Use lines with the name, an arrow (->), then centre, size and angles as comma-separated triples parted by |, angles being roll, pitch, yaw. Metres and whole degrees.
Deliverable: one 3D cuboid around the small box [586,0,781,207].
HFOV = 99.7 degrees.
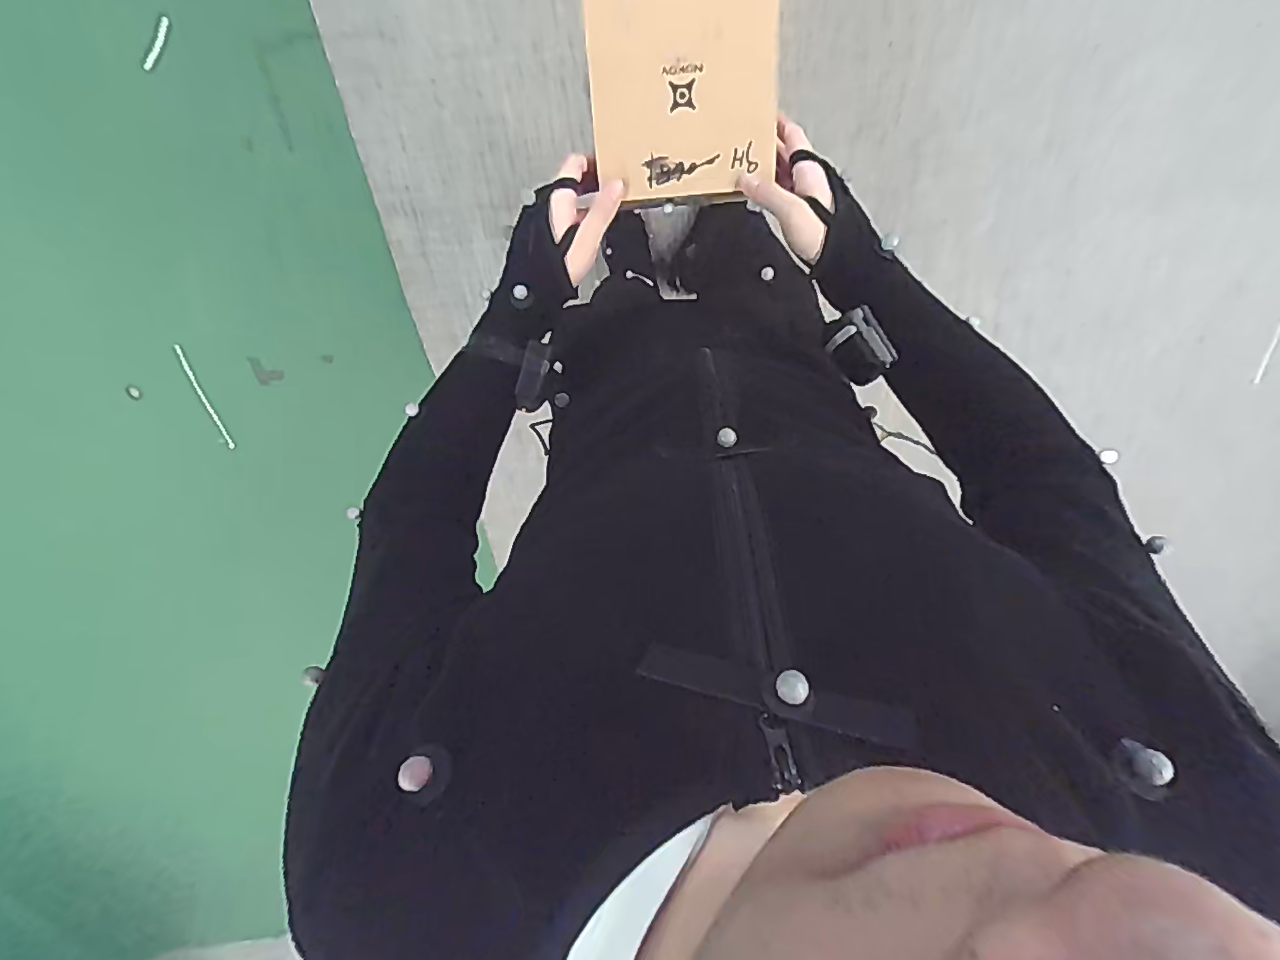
small box -> 0.041, -0.382, 0.545 | 0.168, 0.176, 0.179 | -2, 114, 4
